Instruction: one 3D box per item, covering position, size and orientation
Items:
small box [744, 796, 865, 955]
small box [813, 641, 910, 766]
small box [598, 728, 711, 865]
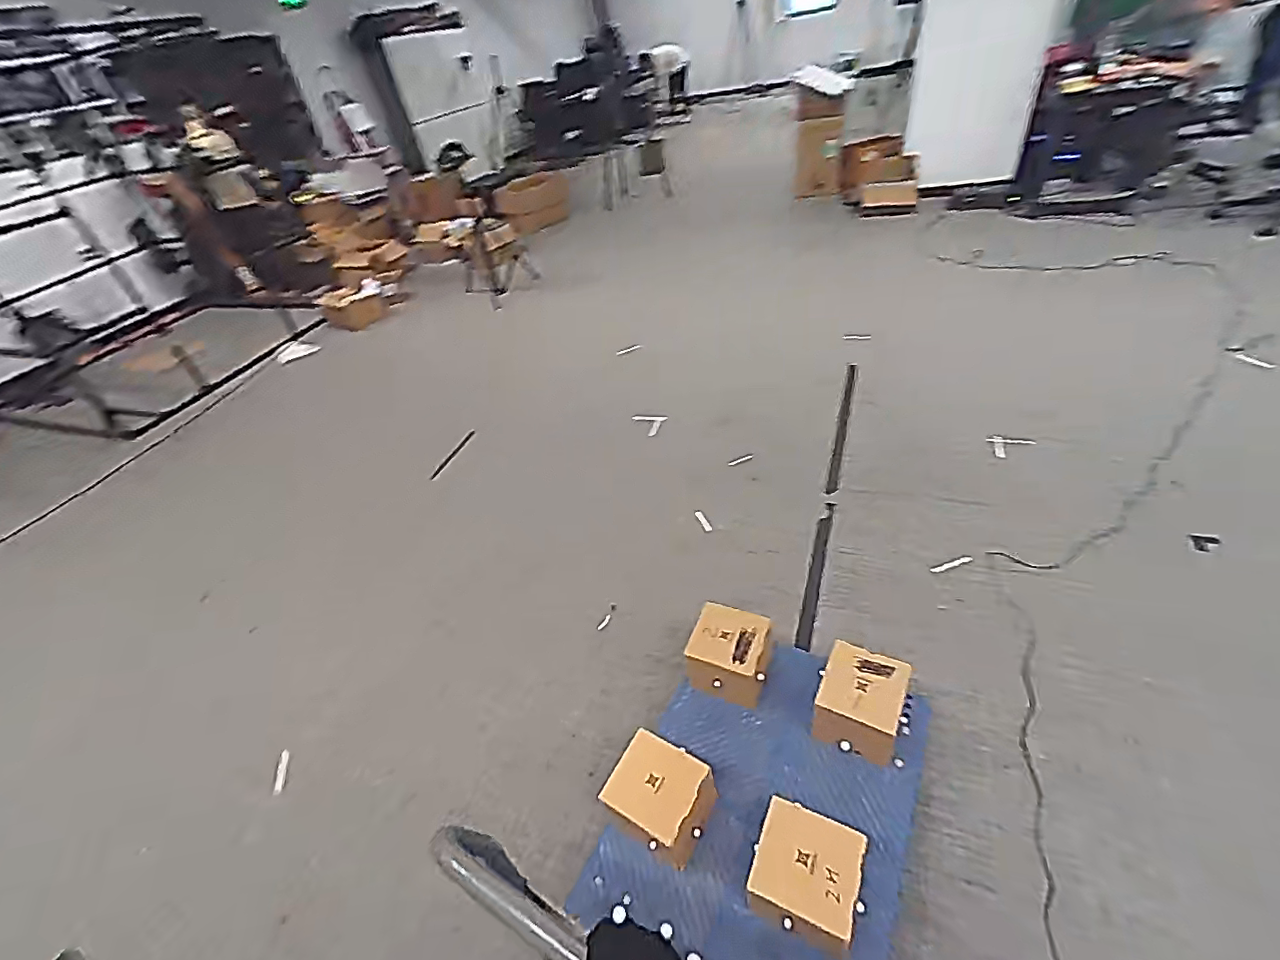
[{"bbox_3d":[0.306,0.738,1.009,0.179,0.176,0.168,12,45,26],"label":"small box"},{"bbox_3d":[0.499,0.508,1.233,0.168,0.176,0.179,14,47,29],"label":"small box"},{"bbox_3d":[0.039,0.676,1.153,0.179,0.176,0.168,17,47,29],"label":"small box"}]
